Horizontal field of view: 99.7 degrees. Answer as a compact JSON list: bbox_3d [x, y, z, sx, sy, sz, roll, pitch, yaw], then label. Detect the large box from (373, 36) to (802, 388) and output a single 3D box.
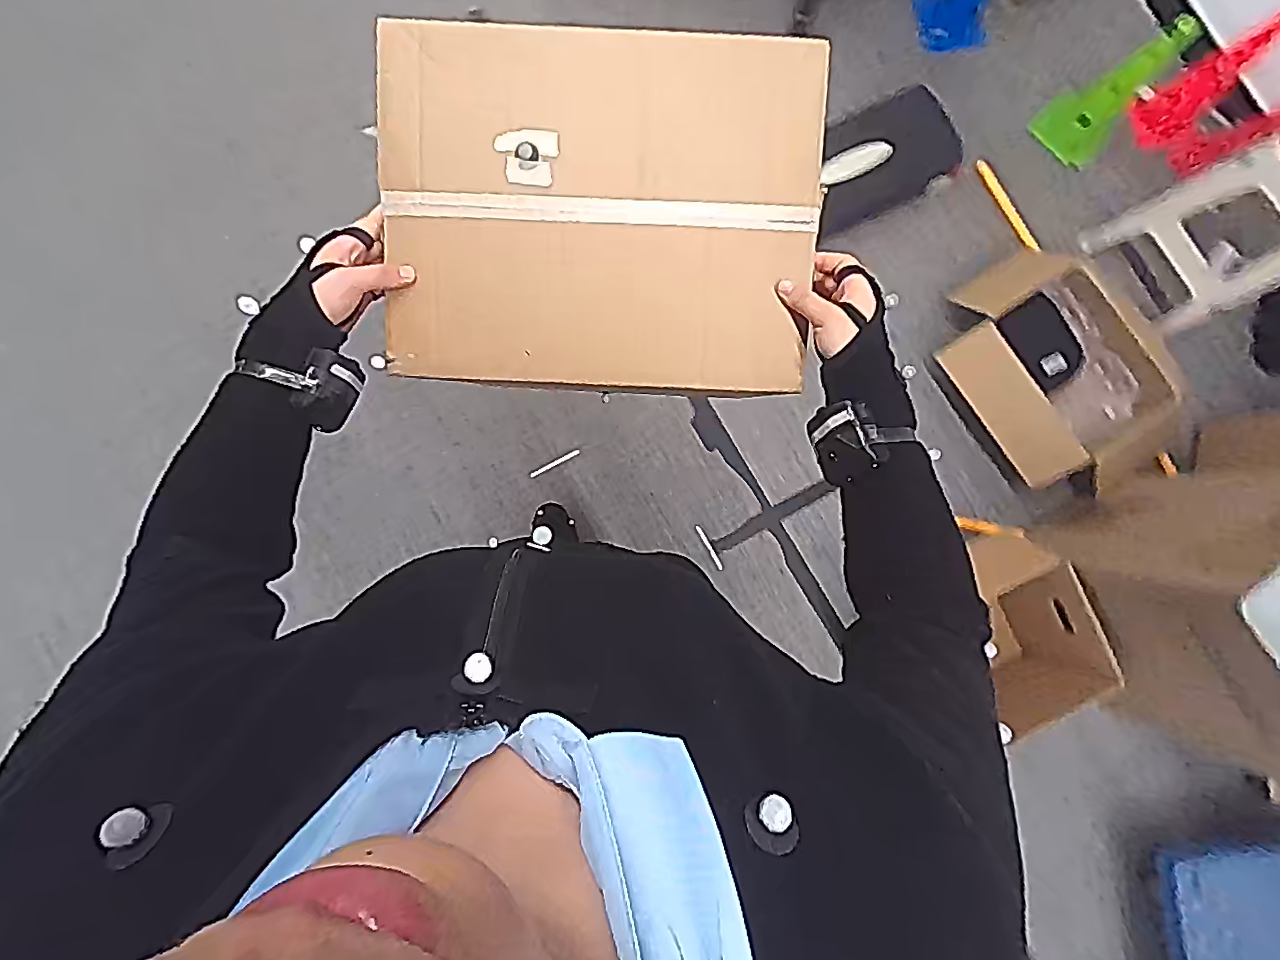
[{"bbox_3d":[-0.045,-0.272,0.661,0.408,0.320,0.320,1,97,1],"label":"large box"}]
